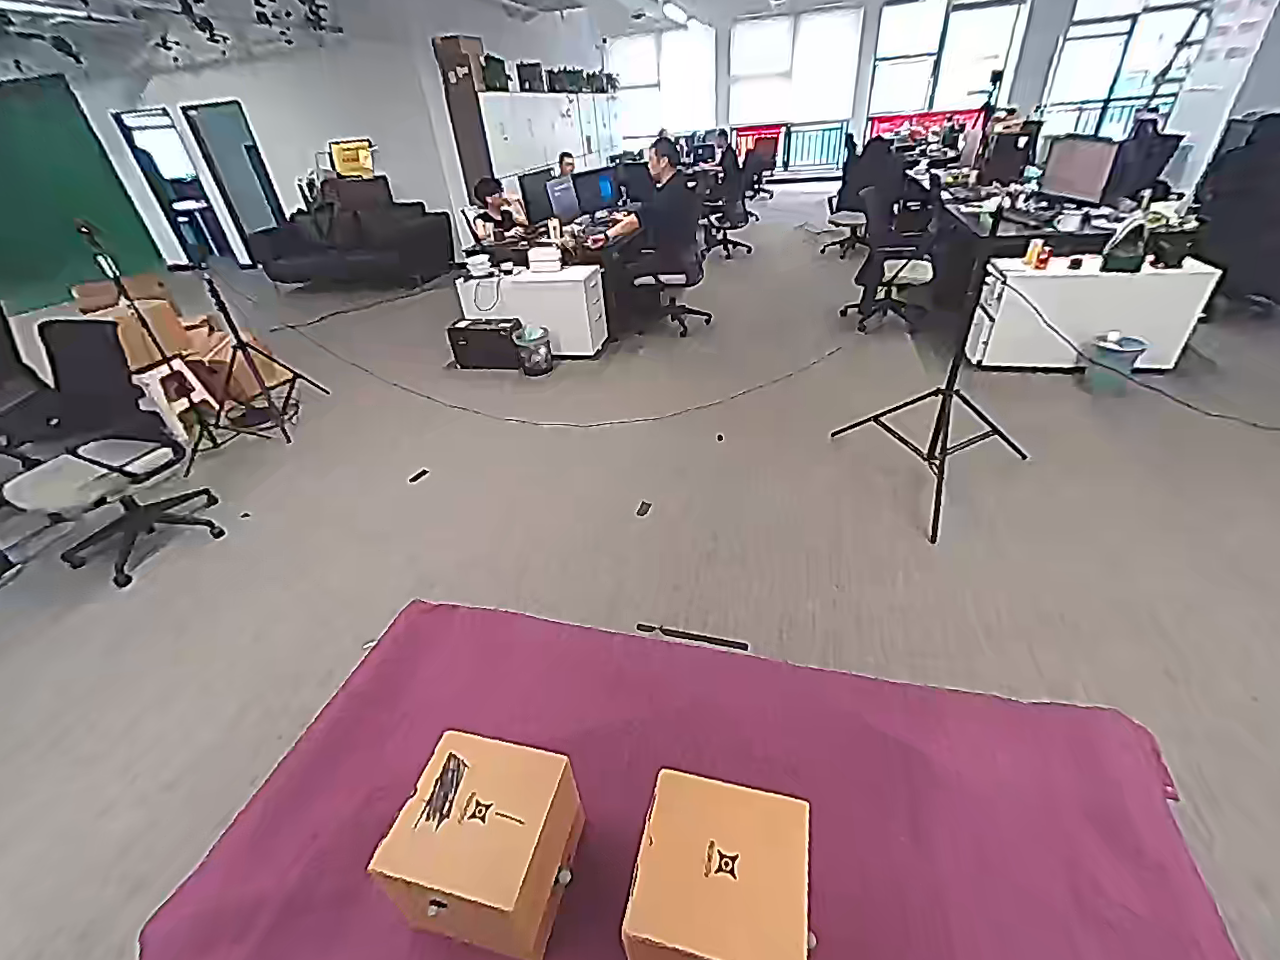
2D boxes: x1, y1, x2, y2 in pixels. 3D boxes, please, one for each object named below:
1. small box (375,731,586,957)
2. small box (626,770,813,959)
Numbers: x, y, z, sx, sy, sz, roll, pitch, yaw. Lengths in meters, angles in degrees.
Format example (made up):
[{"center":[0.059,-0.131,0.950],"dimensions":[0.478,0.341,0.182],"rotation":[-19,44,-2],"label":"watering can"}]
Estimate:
[{"center":[-0.181,0.449,0.674],"dimensions":[0.179,0.176,0.168],"rotation":[5,36,14],"label":"small box"},{"center":[0.096,0.468,0.612],"dimensions":[0.179,0.176,0.168],"rotation":[4,35,15],"label":"small box"}]
